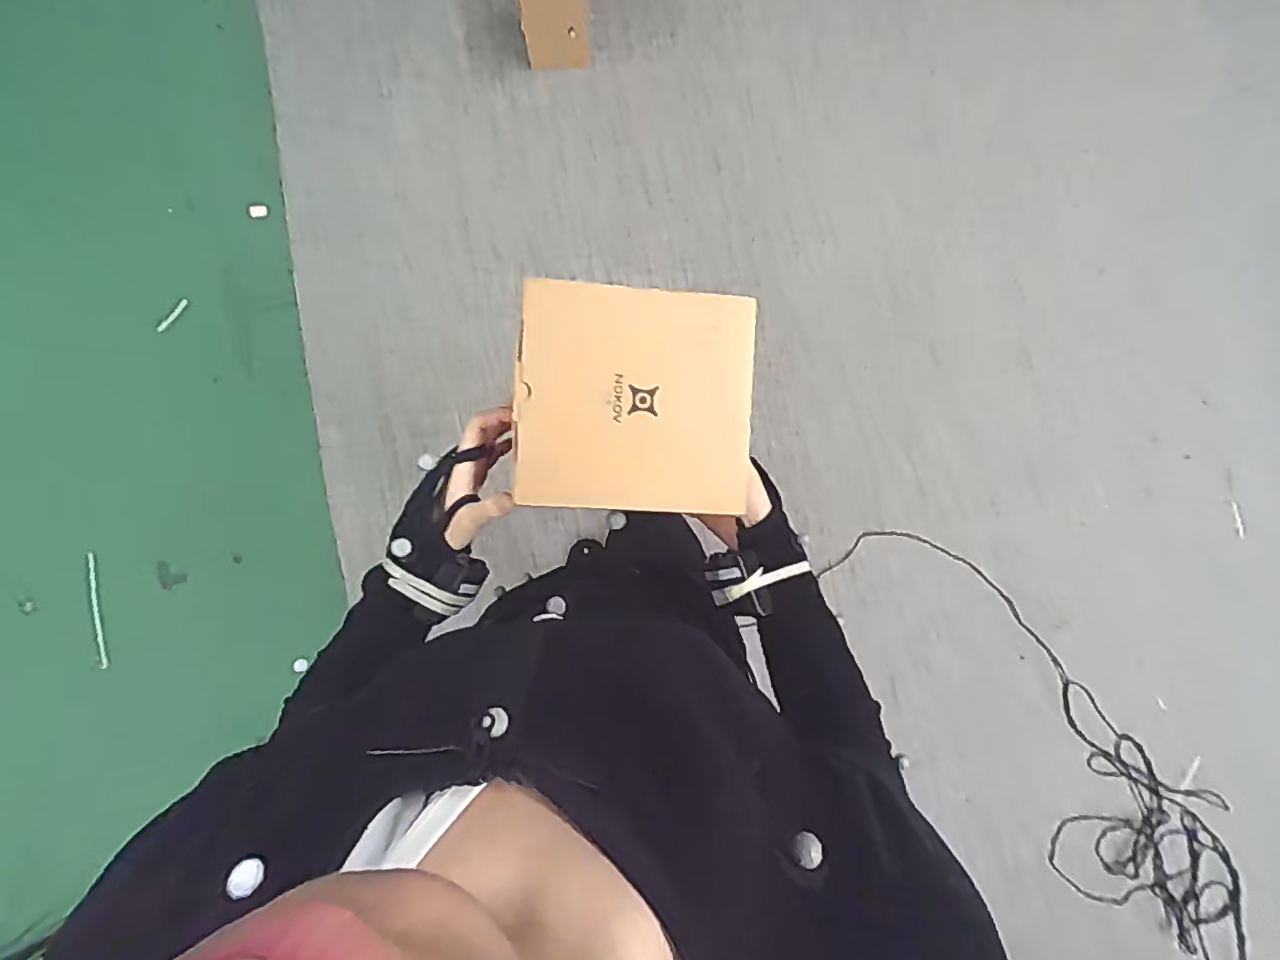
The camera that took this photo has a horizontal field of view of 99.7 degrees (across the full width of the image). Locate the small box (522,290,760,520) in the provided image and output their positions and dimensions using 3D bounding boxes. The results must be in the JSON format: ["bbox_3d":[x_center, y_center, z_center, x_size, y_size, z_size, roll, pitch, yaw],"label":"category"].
[{"bbox_3d":[-0.005,-0.056,0.488,0.179,0.176,0.168,3,90,-5],"label":"small box"}]

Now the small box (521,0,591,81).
[{"bbox_3d":[-0.228,-1.248,1.496,0.179,0.176,0.168,-4,87,-2],"label":"small box"}]
